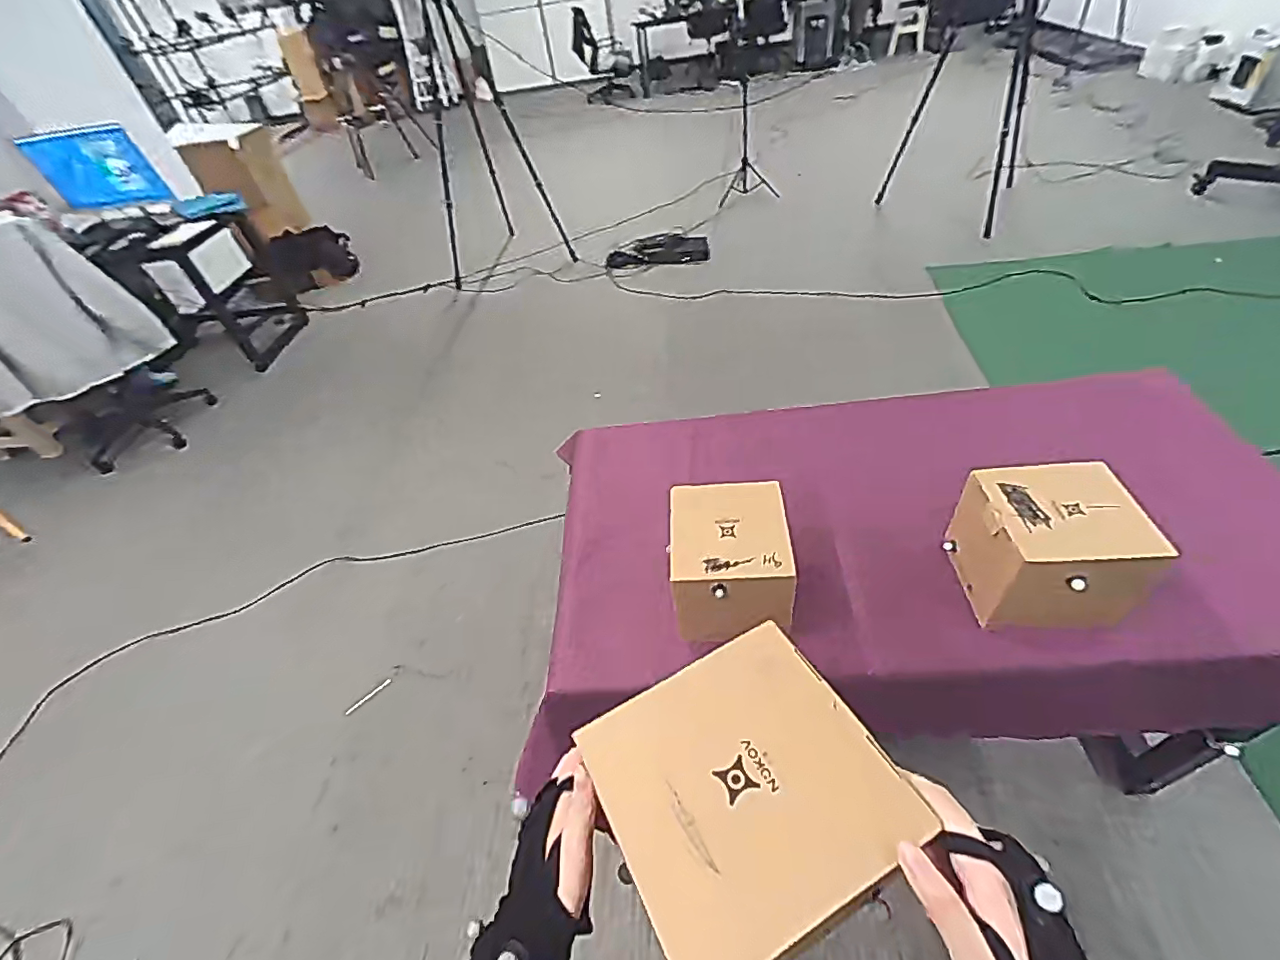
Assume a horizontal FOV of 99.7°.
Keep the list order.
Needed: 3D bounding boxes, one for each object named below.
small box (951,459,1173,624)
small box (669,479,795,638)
[{"bbox_3d":[0.567,0.091,0.765,0.179,0.176,0.168,-4,46,7],"label":"small box"},{"bbox_3d":[0.135,0.121,0.821,0.168,0.176,0.179,-4,45,8],"label":"small box"}]
